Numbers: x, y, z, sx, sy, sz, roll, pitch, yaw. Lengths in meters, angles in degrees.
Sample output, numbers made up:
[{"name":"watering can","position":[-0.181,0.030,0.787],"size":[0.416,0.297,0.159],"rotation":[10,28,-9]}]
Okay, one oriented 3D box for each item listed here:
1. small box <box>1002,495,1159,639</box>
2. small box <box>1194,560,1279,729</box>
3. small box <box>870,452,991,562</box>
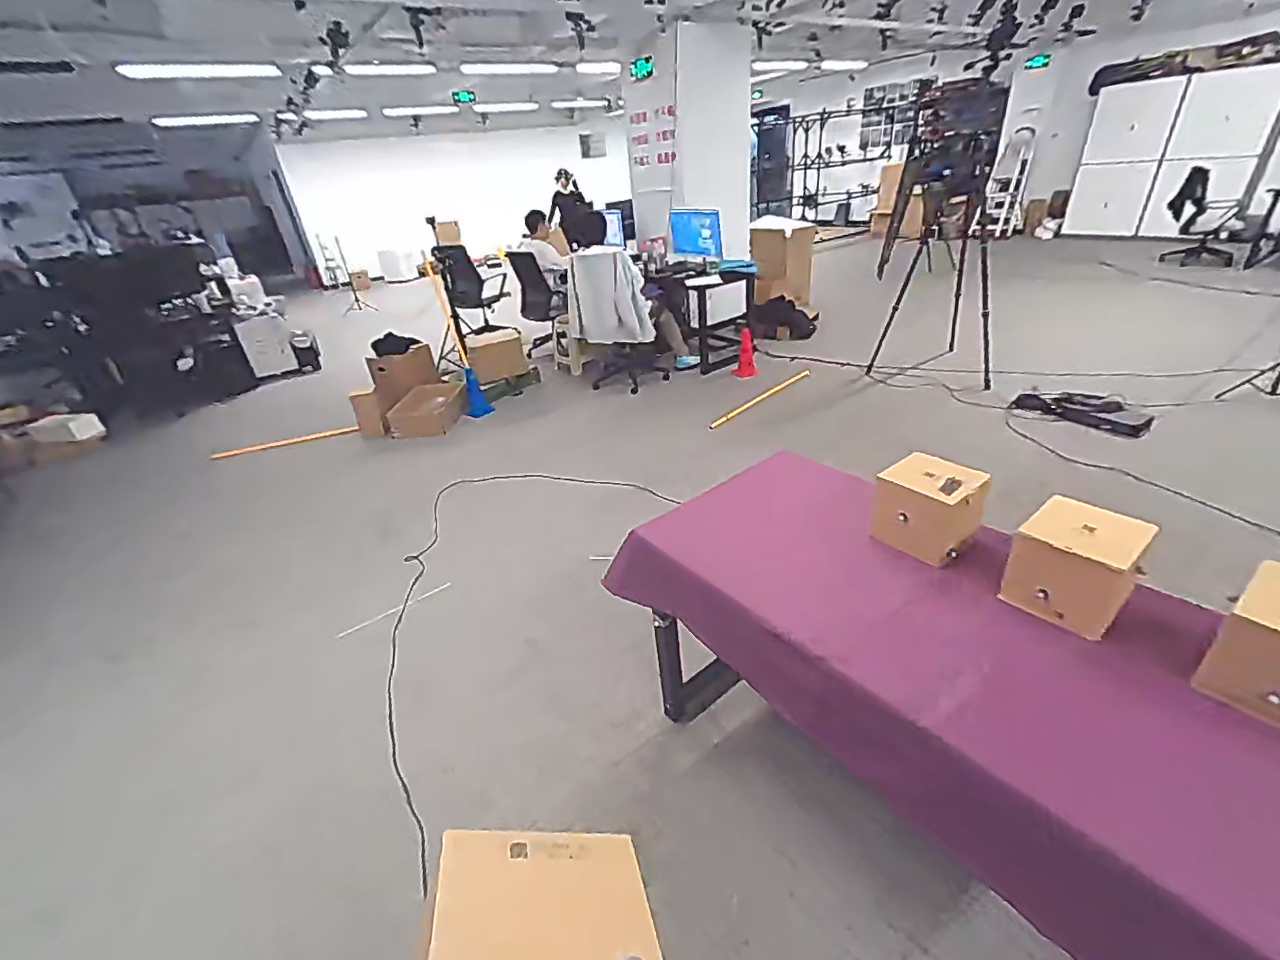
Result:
[{"name":"small box","position":[0.821,0.160,1.023],"size":[0.179,0.176,0.168],"rotation":[-27,35,-28]},{"name":"small box","position":[0.987,0.257,0.807],"size":[0.179,0.176,0.168],"rotation":[-27,34,-26]},{"name":"small box","position":[0.648,0.063,1.224],"size":[0.168,0.176,0.179],"rotation":[-25,33,-28]}]
